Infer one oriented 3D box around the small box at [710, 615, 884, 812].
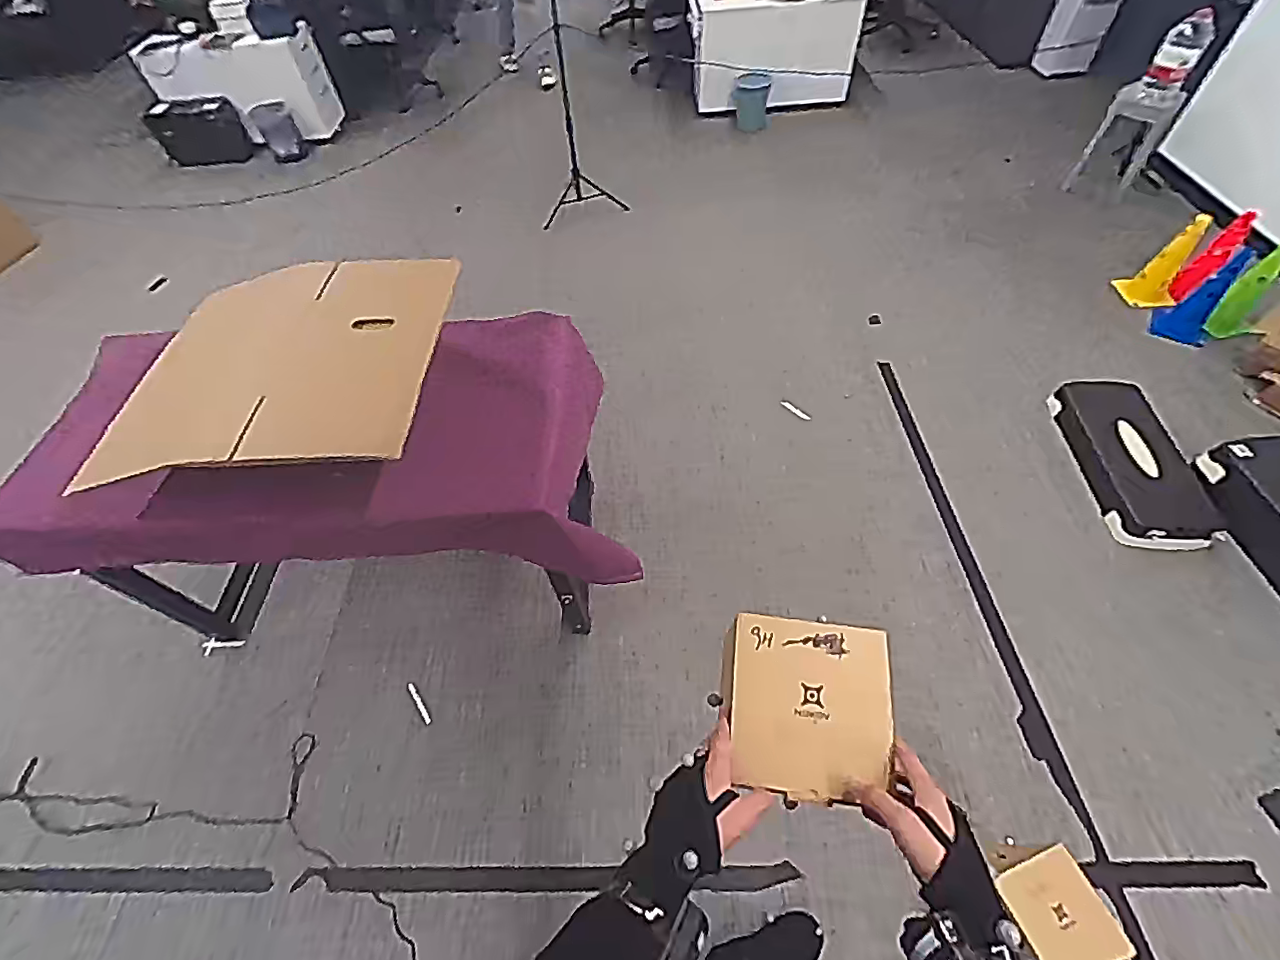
[{"bbox_3d":[0.176,0.273,0.645,0.168,0.176,0.179,6,65,5],"label":"small box"}]
